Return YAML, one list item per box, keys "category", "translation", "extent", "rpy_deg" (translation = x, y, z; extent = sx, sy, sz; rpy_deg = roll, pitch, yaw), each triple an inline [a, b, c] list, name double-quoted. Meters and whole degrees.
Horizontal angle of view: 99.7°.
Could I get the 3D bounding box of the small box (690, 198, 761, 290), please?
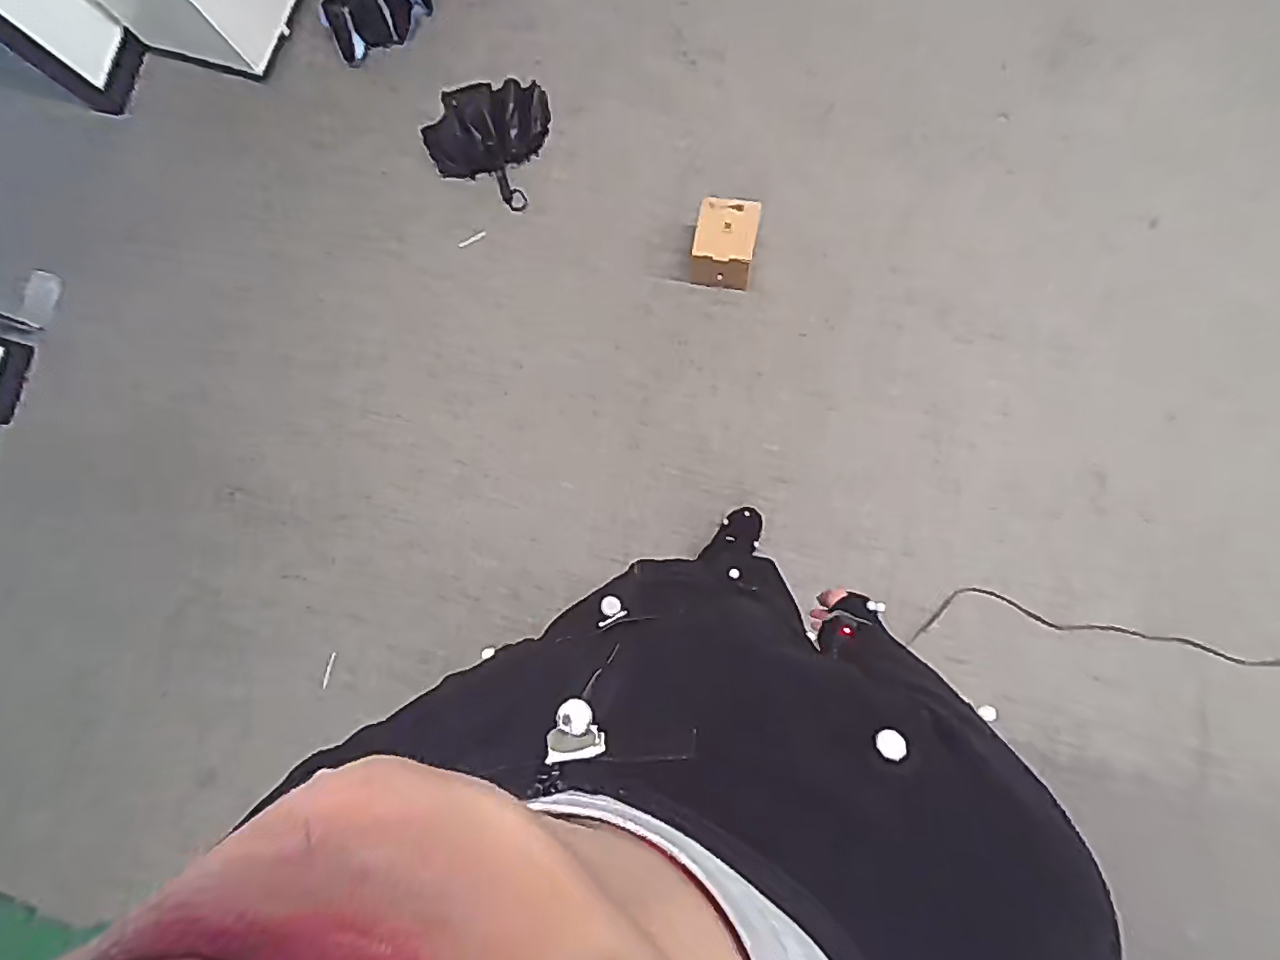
- category: "small box"
  translation: [0.245, -0.669, 1.550]
  extent: [0.168, 0.176, 0.179]
  rpy_deg: [12, 85, 8]
